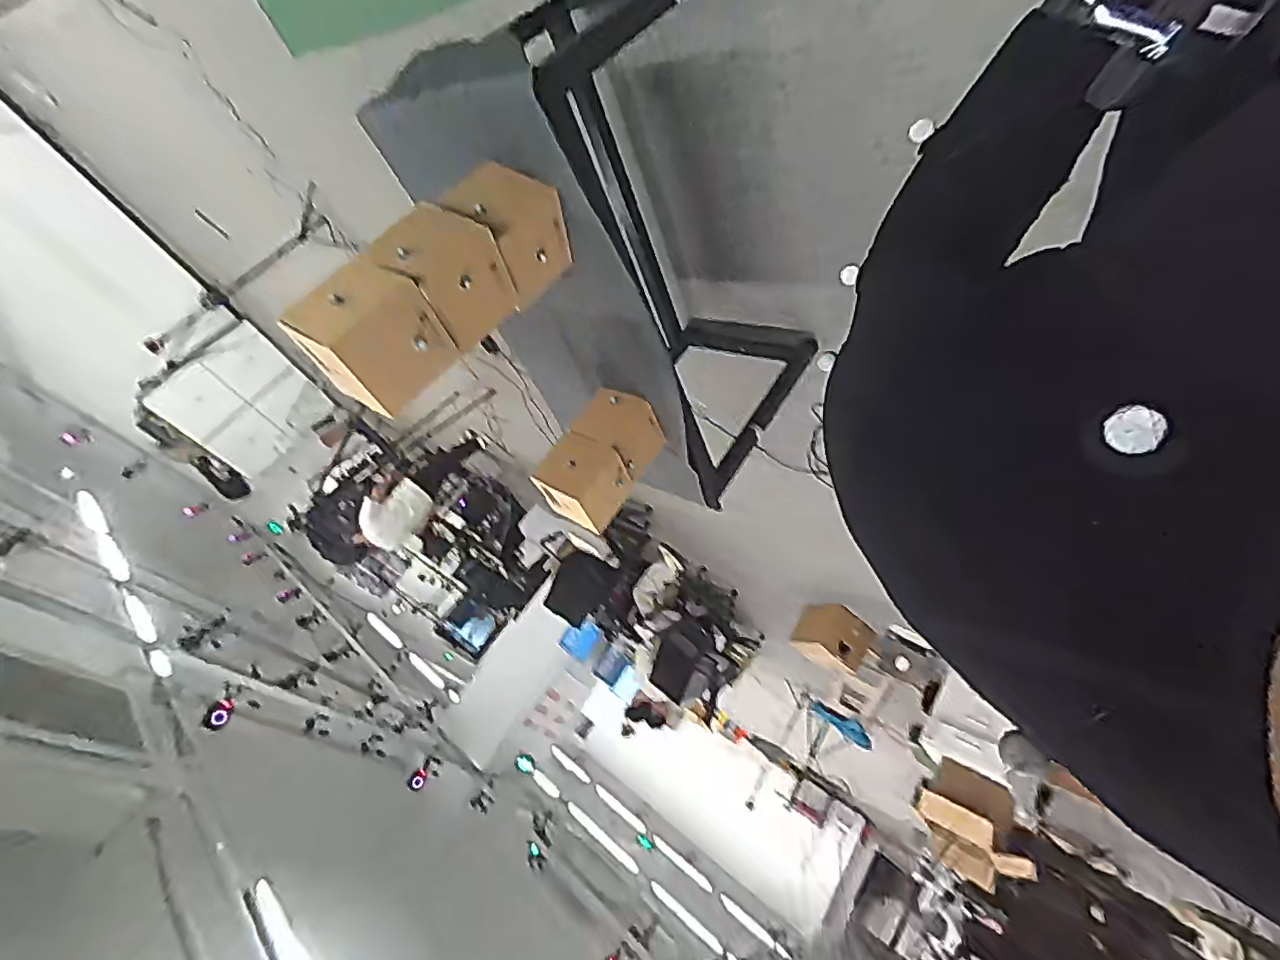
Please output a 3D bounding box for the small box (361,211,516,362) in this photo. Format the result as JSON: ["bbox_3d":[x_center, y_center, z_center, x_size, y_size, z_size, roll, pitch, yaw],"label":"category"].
[{"bbox_3d":[-0.347,-0.351,0.974,0.179,0.176,0.168,31,158,23],"label":"small box"}]

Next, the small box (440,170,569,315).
[{"bbox_3d":[-0.255,-0.463,1.050,0.179,0.176,0.168,32,159,18],"label":"small box"}]

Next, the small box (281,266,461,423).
[{"bbox_3d":[-0.440,-0.232,0.909,0.179,0.176,0.168,26,157,28],"label":"small box"}]

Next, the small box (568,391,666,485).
[{"bbox_3d":[-0.059,-0.120,1.478,0.179,0.176,0.168,22,155,37],"label":"small box"}]
